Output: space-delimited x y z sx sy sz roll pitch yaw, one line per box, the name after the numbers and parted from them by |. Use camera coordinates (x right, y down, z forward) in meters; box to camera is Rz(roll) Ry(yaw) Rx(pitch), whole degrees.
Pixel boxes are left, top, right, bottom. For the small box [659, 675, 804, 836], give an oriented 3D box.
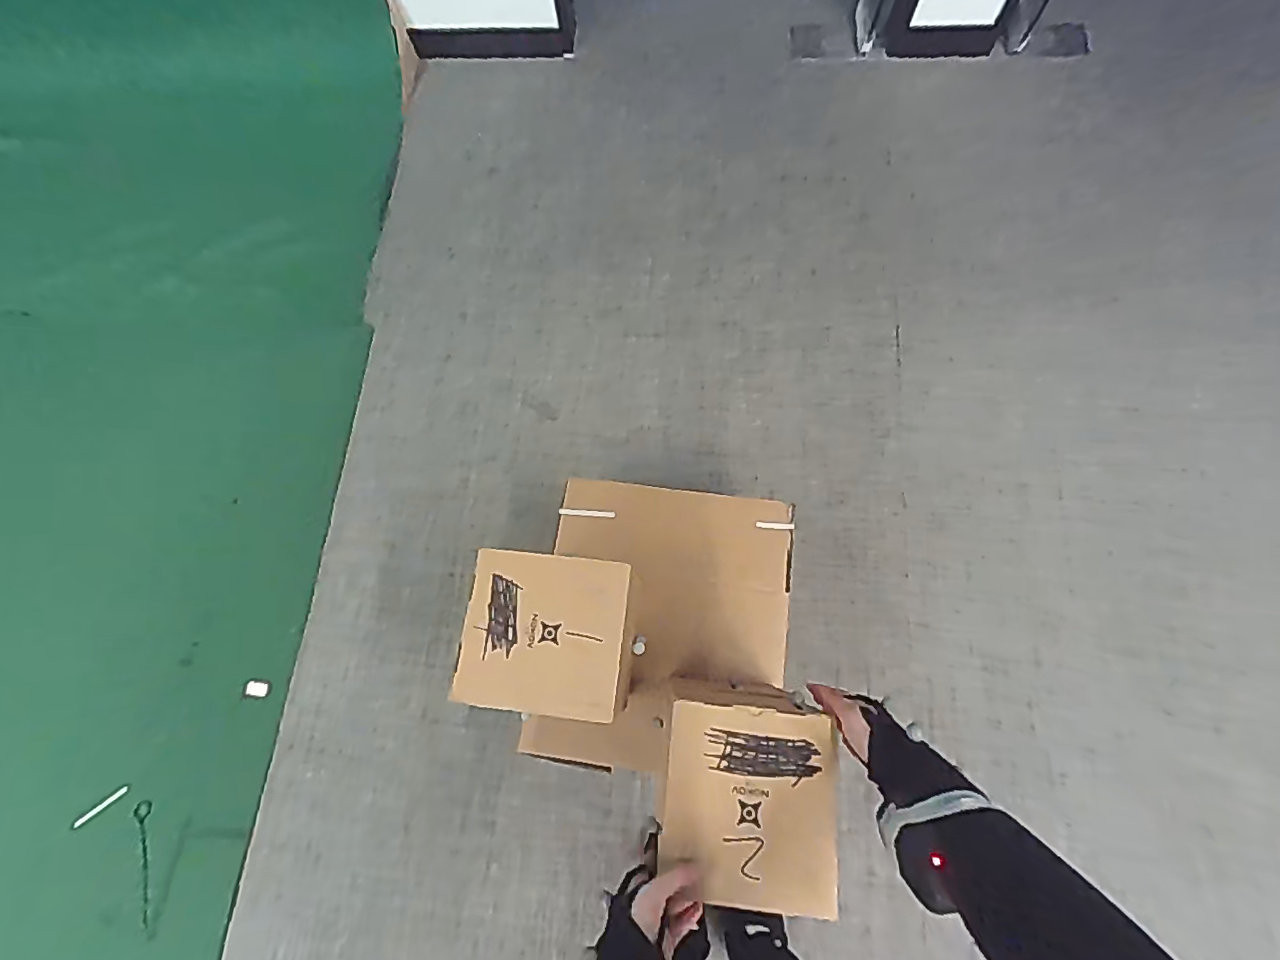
0.120 0.368 0.756 0.179 0.176 0.168 4 73 4 | small box

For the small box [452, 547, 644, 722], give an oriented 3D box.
-0.095 0.183 0.649 0.179 0.176 0.168 4 74 6 | small box
